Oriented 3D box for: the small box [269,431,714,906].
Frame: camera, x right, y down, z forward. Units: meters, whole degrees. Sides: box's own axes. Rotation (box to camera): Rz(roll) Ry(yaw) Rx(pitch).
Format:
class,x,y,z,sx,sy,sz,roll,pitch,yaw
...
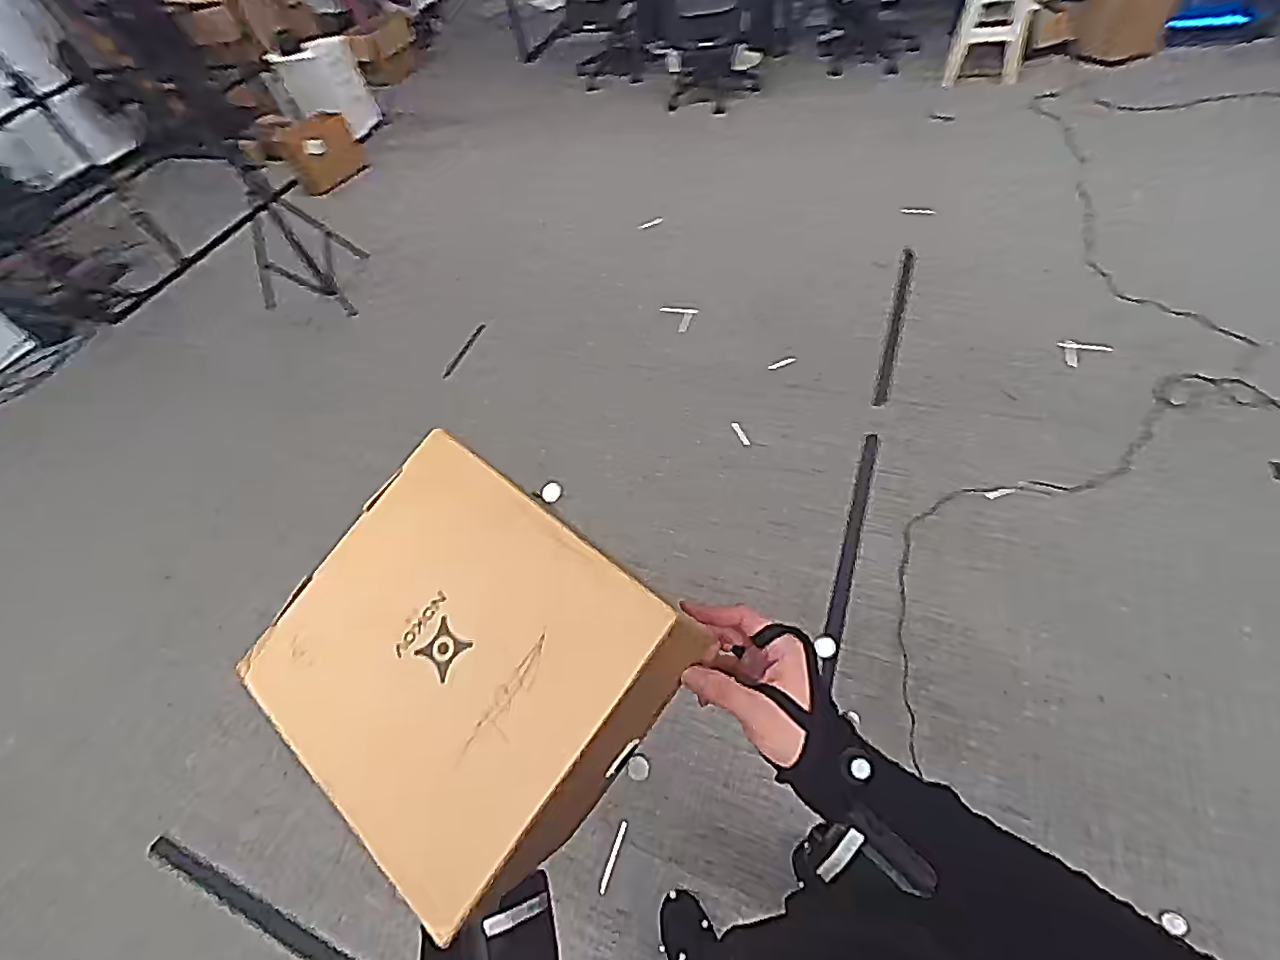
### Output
class,x,y,z,sx,sy,sz,roll,pitch,yaw
small box,-0.073,0.104,0.347,0.179,0.176,0.168,36,83,22
